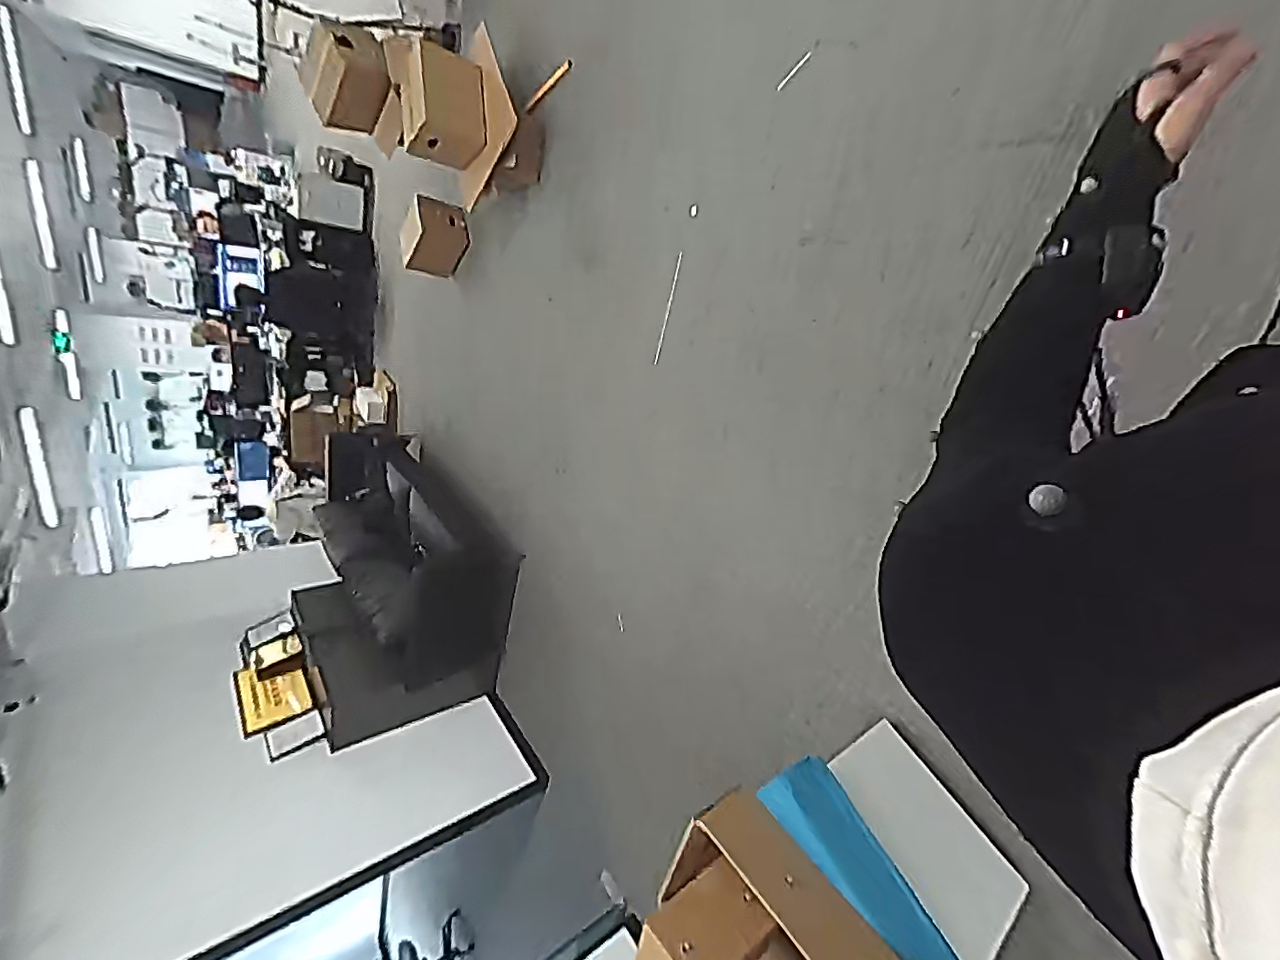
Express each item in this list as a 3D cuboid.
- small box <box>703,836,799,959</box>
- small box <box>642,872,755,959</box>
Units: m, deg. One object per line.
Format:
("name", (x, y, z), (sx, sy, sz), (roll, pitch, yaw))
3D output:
("small box", (0.258, 1.030, 1.325), (0.179, 0.176, 0.168), (34, 122, 42))
("small box", (0.133, 1.051, 1.222), (0.179, 0.176, 0.168), (33, 121, 43))
